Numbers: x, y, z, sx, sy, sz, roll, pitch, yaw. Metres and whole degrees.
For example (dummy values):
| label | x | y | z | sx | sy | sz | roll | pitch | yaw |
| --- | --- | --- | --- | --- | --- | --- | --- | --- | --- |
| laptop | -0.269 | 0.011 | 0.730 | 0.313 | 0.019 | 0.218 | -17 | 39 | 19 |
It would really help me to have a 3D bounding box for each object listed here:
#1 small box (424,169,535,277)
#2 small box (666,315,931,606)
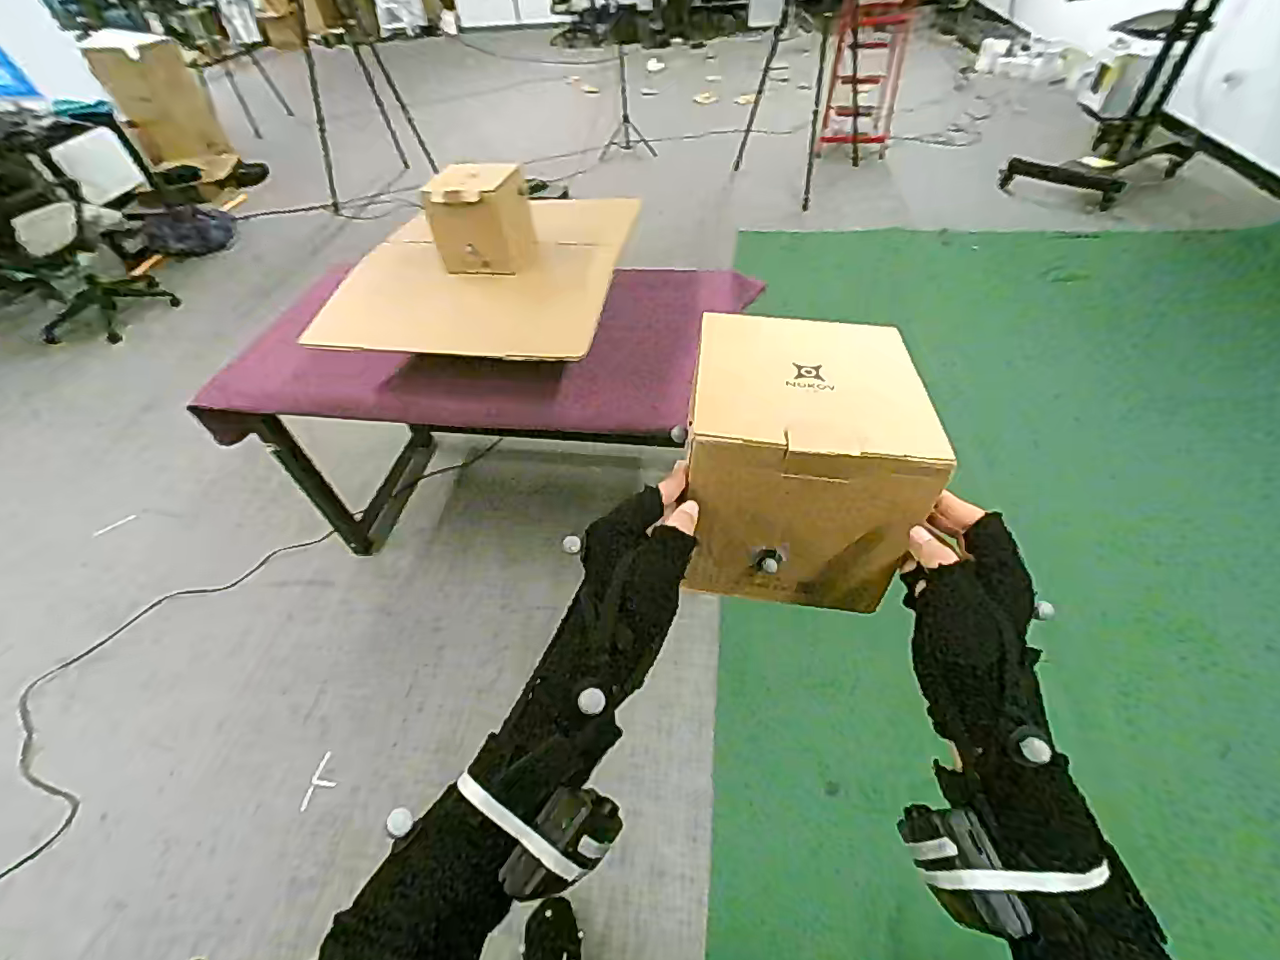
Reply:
| label | x | y | z | sx | sy | sz | roll | pitch | yaw |
| --- | --- | --- | --- | --- | --- | --- | --- | --- | --- |
| small box | -0.342 | -0.571 | 1.197 | 0.168 | 0.176 | 0.179 | 5 | 48 | 10 |
| small box | 0.112 | -0.019 | 0.464 | 0.168 | 0.176 | 0.179 | 5 | 44 | 3 |
